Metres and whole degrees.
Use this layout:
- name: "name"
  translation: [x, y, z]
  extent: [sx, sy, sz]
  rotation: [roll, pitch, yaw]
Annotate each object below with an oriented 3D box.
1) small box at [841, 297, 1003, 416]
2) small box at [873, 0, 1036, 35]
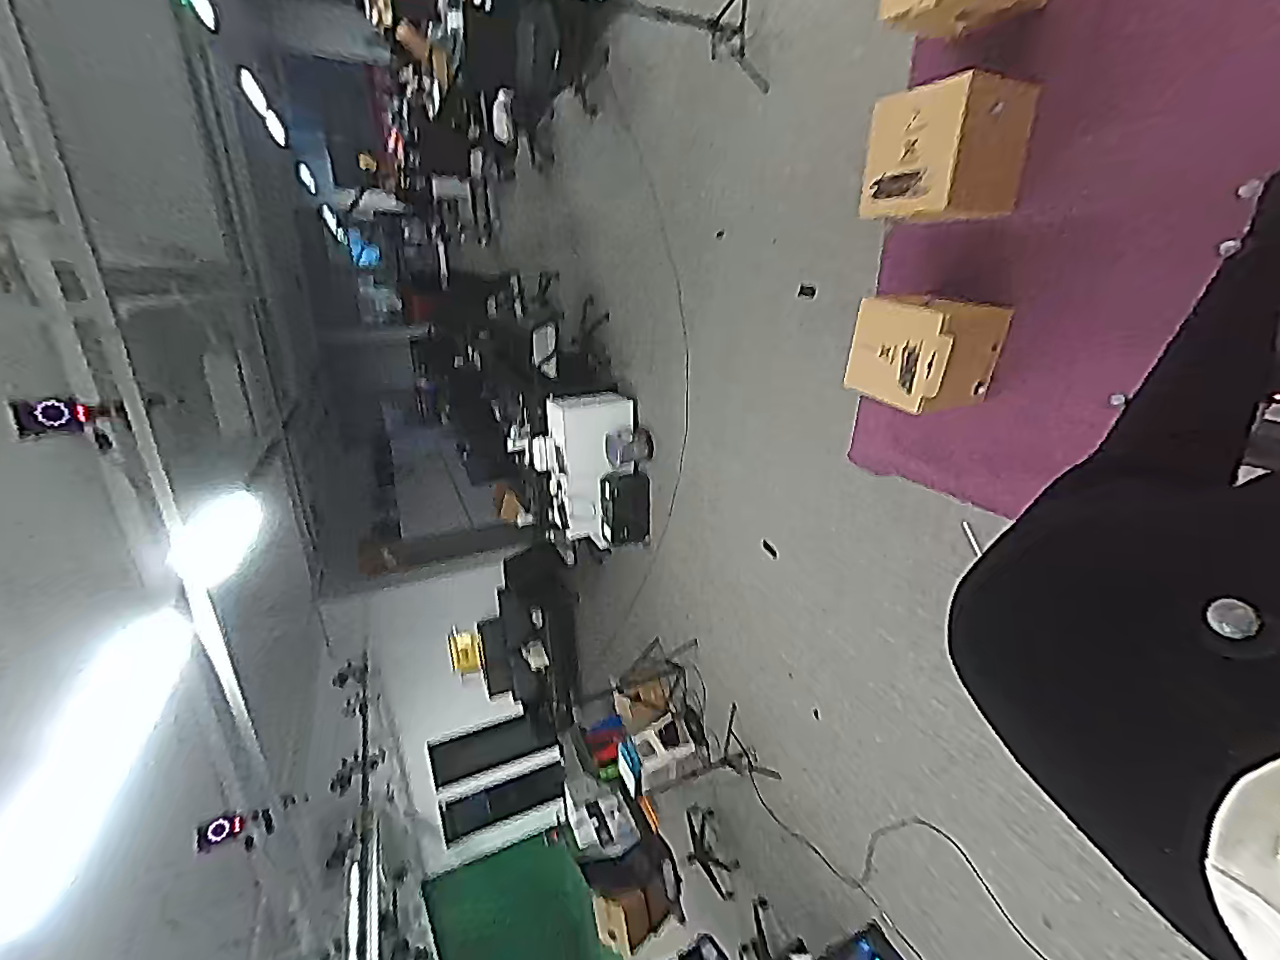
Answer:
- name: "small box"
  translation: [0.496, -0.228, 0.962]
  extent: [0.179, 0.176, 0.168]
  rotation: [-135, 42, -53]
- name: "small box"
  translation: [0.471, -0.779, 0.783]
  extent: [0.168, 0.176, 0.179]
  rotation: [35, 132, 56]
